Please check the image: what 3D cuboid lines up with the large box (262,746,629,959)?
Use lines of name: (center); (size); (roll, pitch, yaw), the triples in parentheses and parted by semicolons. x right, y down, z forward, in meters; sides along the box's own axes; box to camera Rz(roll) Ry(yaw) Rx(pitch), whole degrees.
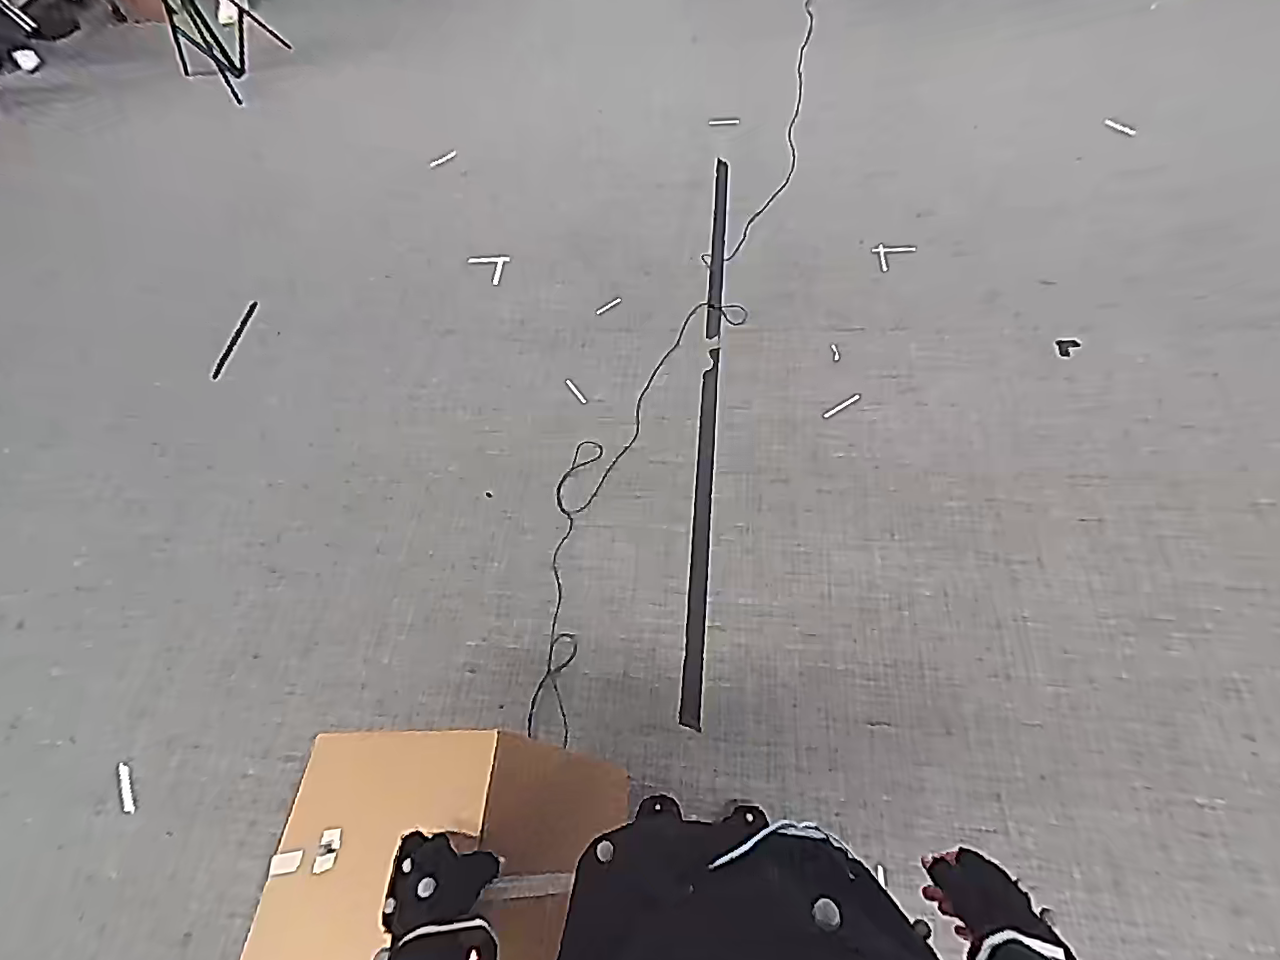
large box: (-0.240, 0.583, 0.785); (0.320, 0.408, 0.320); (-9, 54, 20)
